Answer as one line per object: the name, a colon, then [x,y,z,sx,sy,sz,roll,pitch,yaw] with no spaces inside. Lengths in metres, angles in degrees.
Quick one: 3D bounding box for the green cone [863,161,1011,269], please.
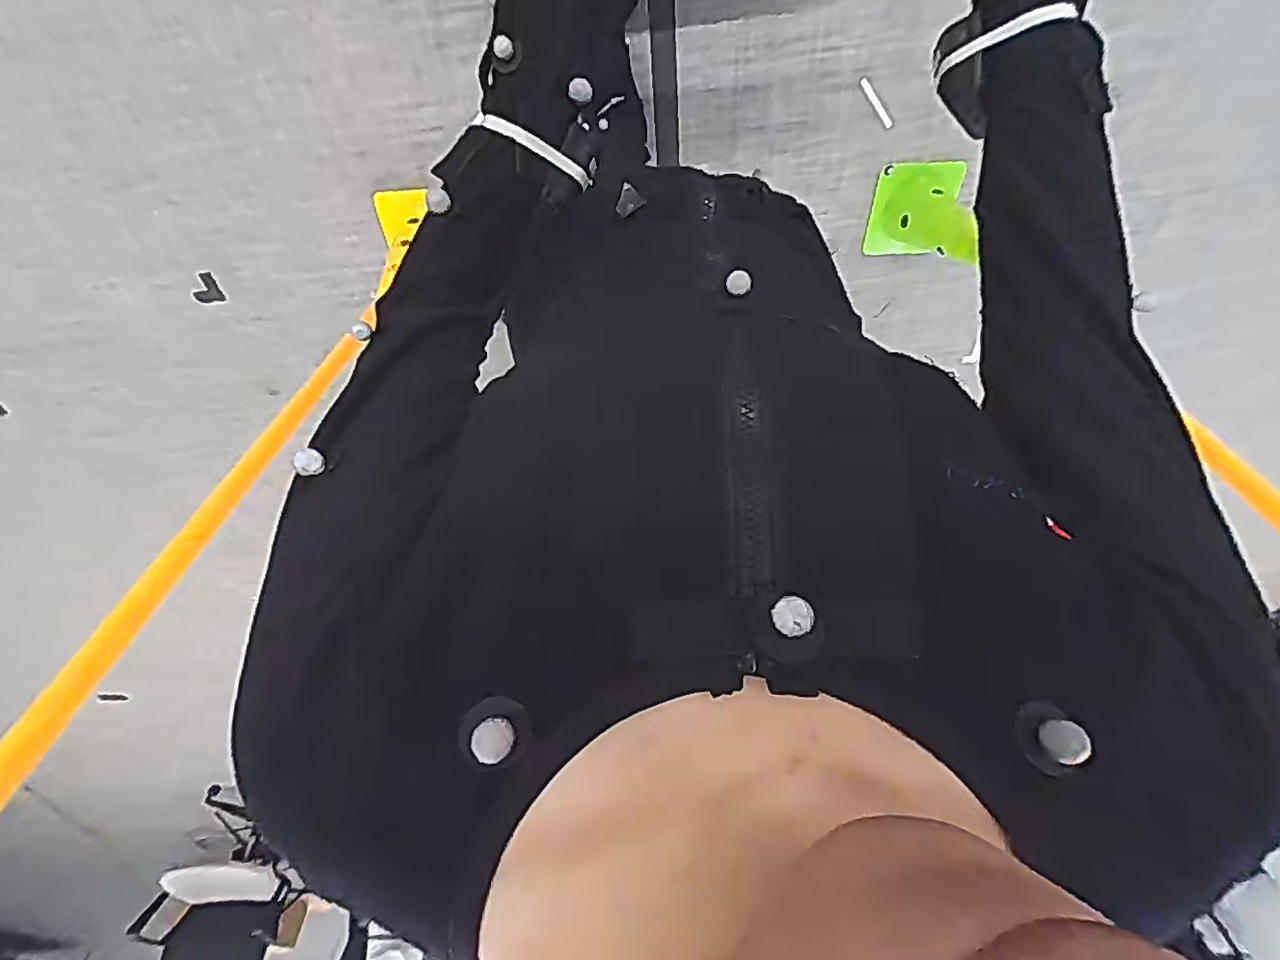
green cone: [0.657,-0.528,1.150,0.202,0.368,0.200,-4,131,-3]
